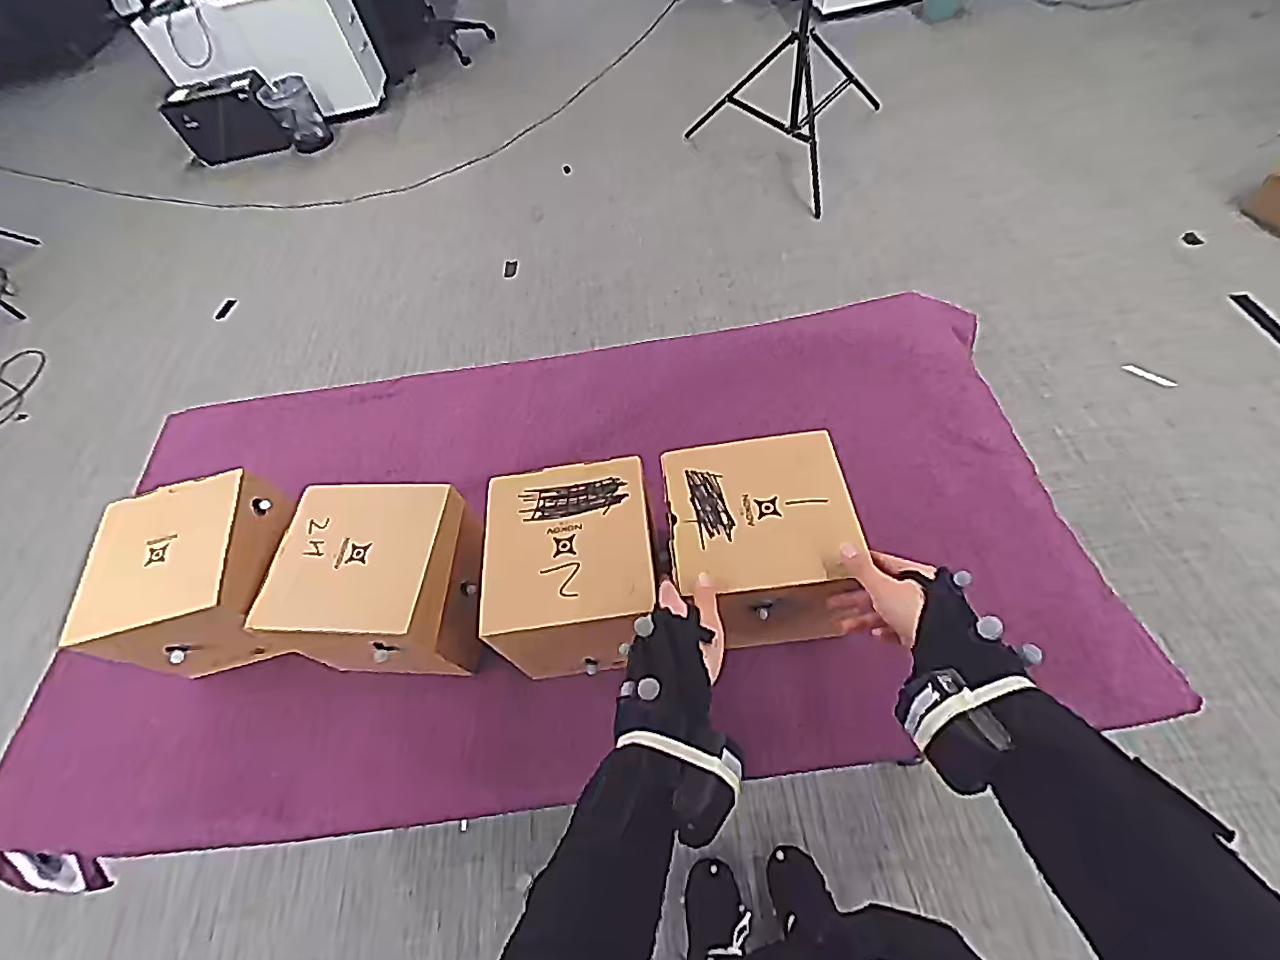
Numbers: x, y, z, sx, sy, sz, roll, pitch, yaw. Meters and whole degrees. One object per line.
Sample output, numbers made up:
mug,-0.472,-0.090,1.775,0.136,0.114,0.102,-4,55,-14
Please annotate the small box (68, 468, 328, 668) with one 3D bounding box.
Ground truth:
small box,-0.513,0.118,0.661,0.168,0.176,0.179,-16,58,-1
